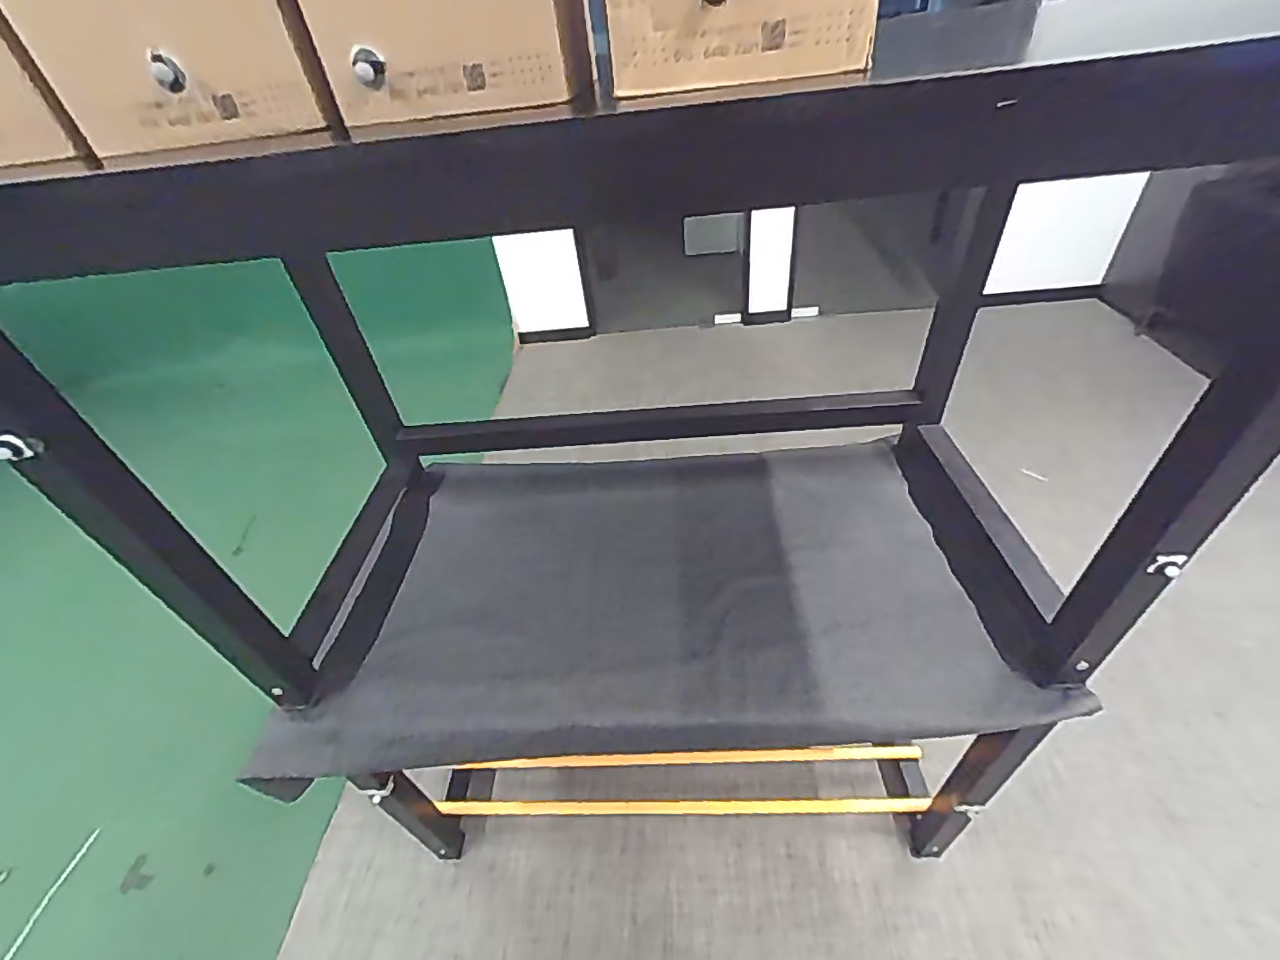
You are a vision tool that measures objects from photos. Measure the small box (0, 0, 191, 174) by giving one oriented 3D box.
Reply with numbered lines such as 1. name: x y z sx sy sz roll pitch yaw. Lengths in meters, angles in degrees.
1. small box: -0.524 -0.352 0.434 0.168 0.176 0.179 -7 39 -1

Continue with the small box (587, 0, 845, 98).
1. small box: 0.048 -0.382 0.381 0.168 0.176 0.179 -3 41 5
